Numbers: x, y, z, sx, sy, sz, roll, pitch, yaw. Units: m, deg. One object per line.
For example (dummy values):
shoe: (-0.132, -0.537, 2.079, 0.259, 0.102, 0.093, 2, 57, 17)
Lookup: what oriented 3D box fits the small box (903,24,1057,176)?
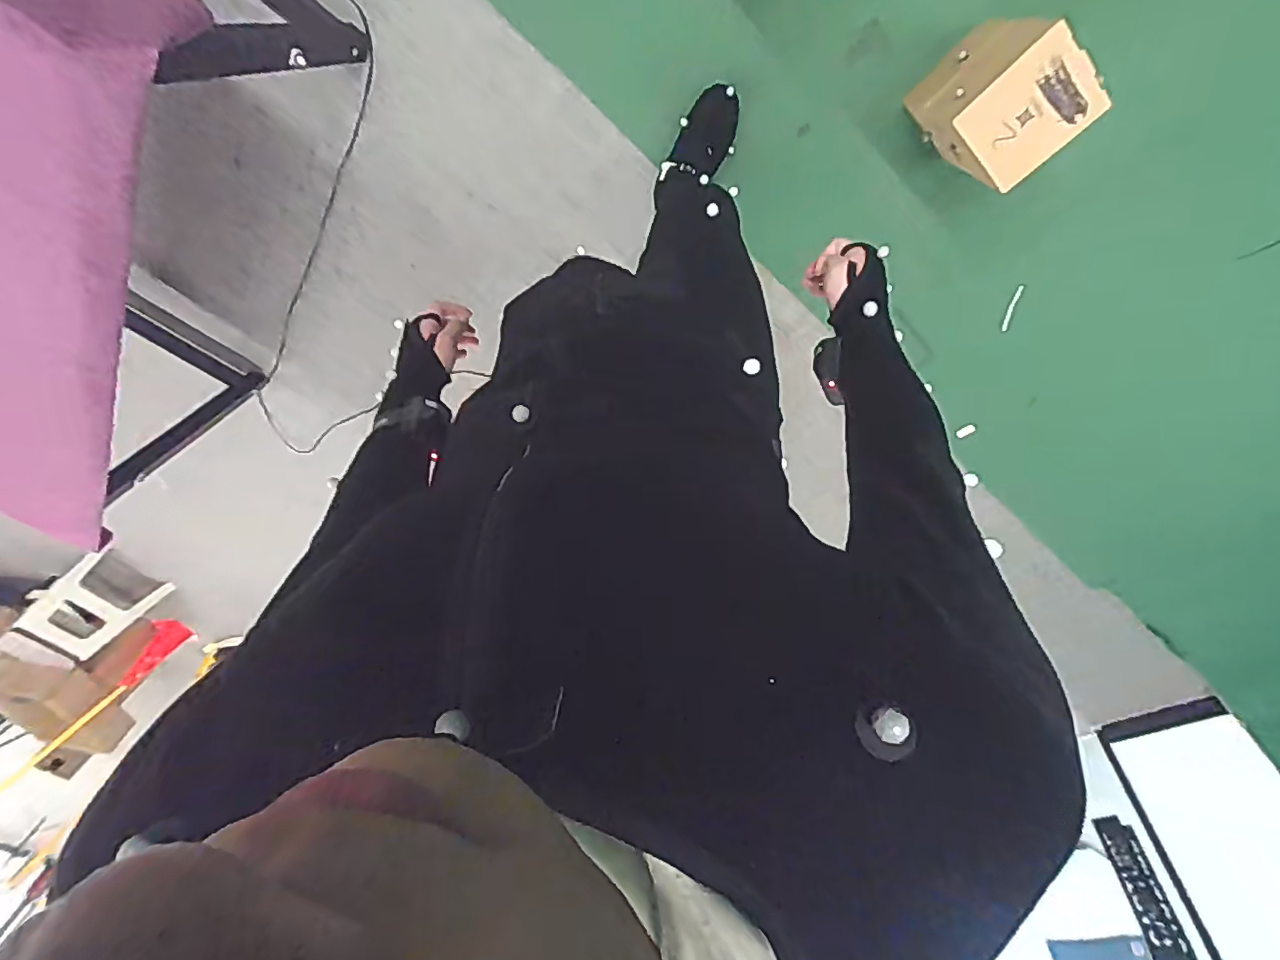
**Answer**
small box: (0.654, -0.744, 1.060, 0.168, 0.176, 0.179, 37, 126, -20)
